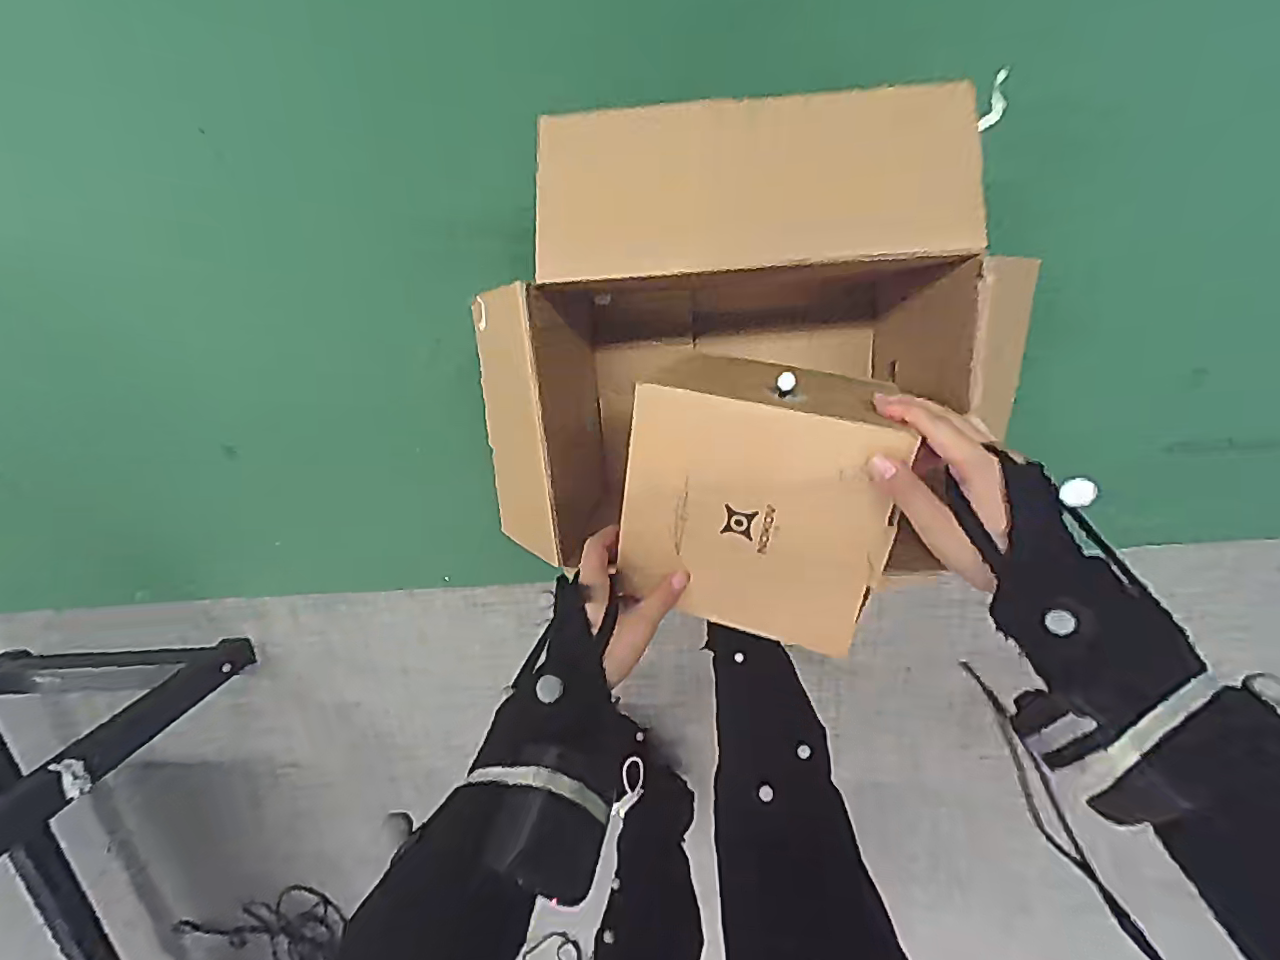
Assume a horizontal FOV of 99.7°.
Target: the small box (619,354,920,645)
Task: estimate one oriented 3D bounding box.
[{"bbox_3d":[0.099,-0.003,0.437,0.179,0.176,0.168,13,112,16],"label":"small box"}]
